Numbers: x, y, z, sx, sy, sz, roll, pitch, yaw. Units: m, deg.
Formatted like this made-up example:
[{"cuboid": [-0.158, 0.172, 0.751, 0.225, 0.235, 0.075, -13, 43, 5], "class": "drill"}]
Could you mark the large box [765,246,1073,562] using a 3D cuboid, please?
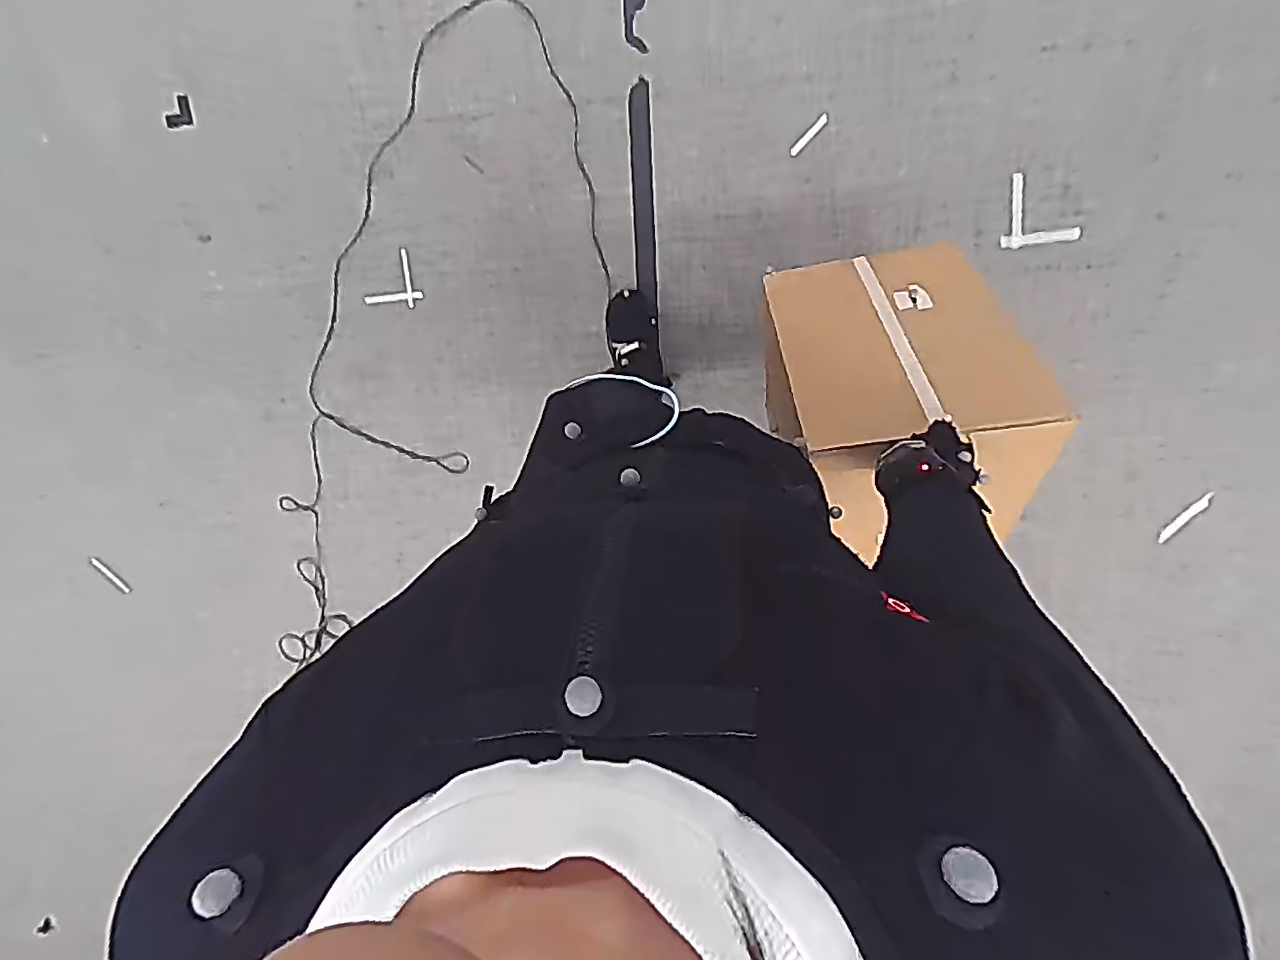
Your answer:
[{"cuboid": [0.396, -0.121, 0.902, 0.320, 0.408, 0.320, -6, 141, 7], "class": "large box"}]
